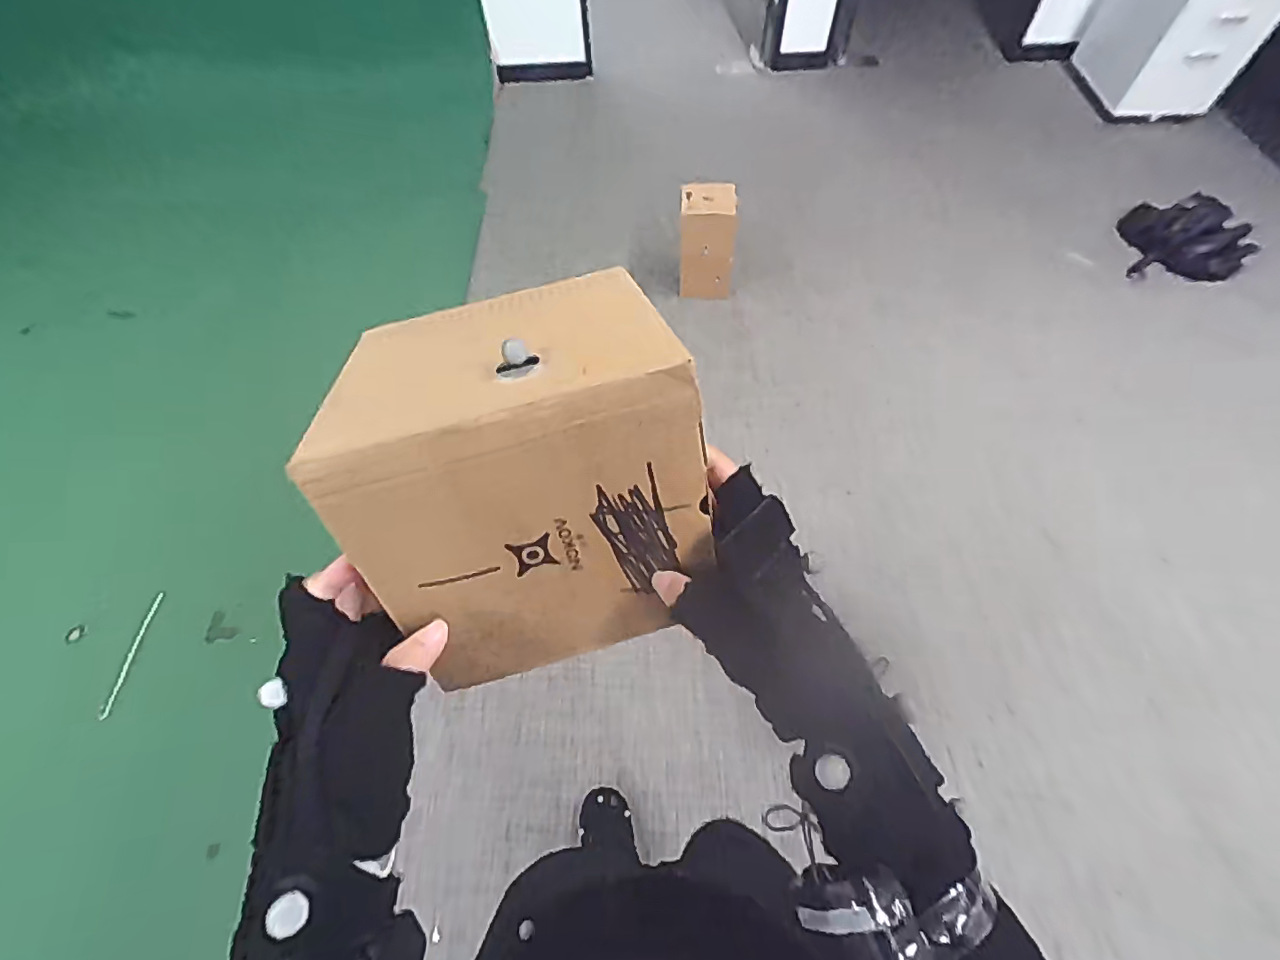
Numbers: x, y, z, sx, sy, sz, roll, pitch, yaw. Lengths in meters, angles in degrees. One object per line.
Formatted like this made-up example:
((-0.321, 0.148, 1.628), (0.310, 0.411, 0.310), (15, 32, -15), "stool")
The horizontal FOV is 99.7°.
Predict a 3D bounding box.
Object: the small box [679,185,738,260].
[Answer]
((0.226, -0.855, 1.805), (0.179, 0.176, 0.168), (3, 60, 3), "small box")

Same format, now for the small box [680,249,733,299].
((0.235, -0.770, 1.945), (0.179, 0.176, 0.168), (0, 59, 4), "small box")

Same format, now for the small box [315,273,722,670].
((-0.061, -0.016, 0.346), (0.179, 0.168, 0.176), (-15, 36, -3), "small box")
